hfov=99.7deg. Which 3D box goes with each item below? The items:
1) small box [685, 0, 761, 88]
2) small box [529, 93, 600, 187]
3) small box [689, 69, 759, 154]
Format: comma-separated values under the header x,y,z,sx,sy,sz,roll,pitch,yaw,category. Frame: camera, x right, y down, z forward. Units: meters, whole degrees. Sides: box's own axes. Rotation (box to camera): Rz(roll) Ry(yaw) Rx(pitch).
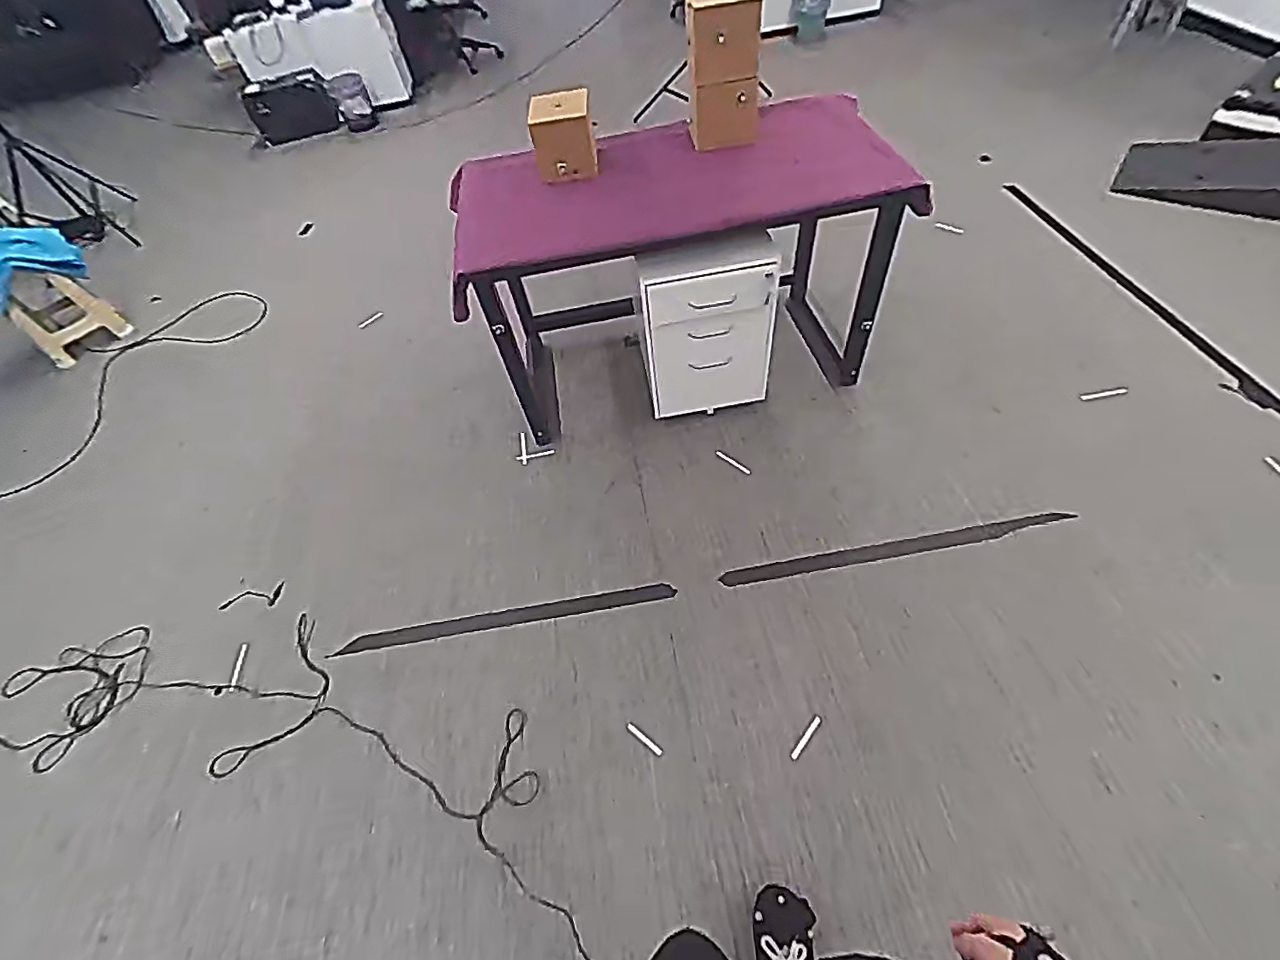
x,y,z,sx,sy,sz,roll,pitch,yaw,category
0.220,-1.180,1.444,0.179,0.176,0.168,-7,55,4,small box
-0.213,-0.981,1.565,0.168,0.176,0.179,-7,56,4,small box
0.240,-1.084,1.576,0.179,0.176,0.168,-8,54,2,small box
